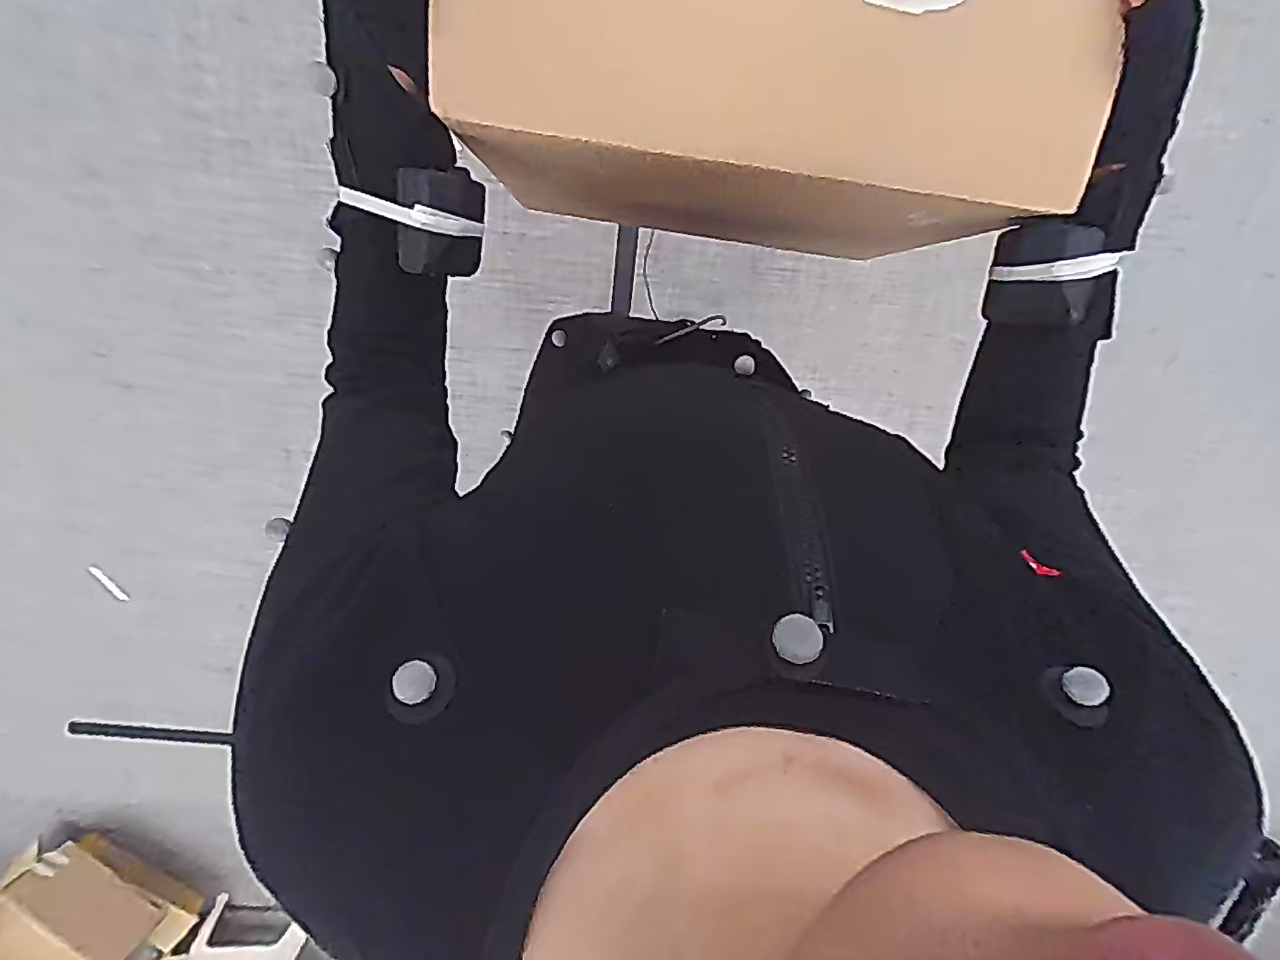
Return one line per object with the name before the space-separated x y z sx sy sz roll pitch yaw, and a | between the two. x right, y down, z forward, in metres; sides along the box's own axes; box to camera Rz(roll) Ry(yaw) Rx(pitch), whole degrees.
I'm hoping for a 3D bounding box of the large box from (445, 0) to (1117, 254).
large box | 0.086 -0.387 0.443 0.408 0.320 0.320 6 108 -5
